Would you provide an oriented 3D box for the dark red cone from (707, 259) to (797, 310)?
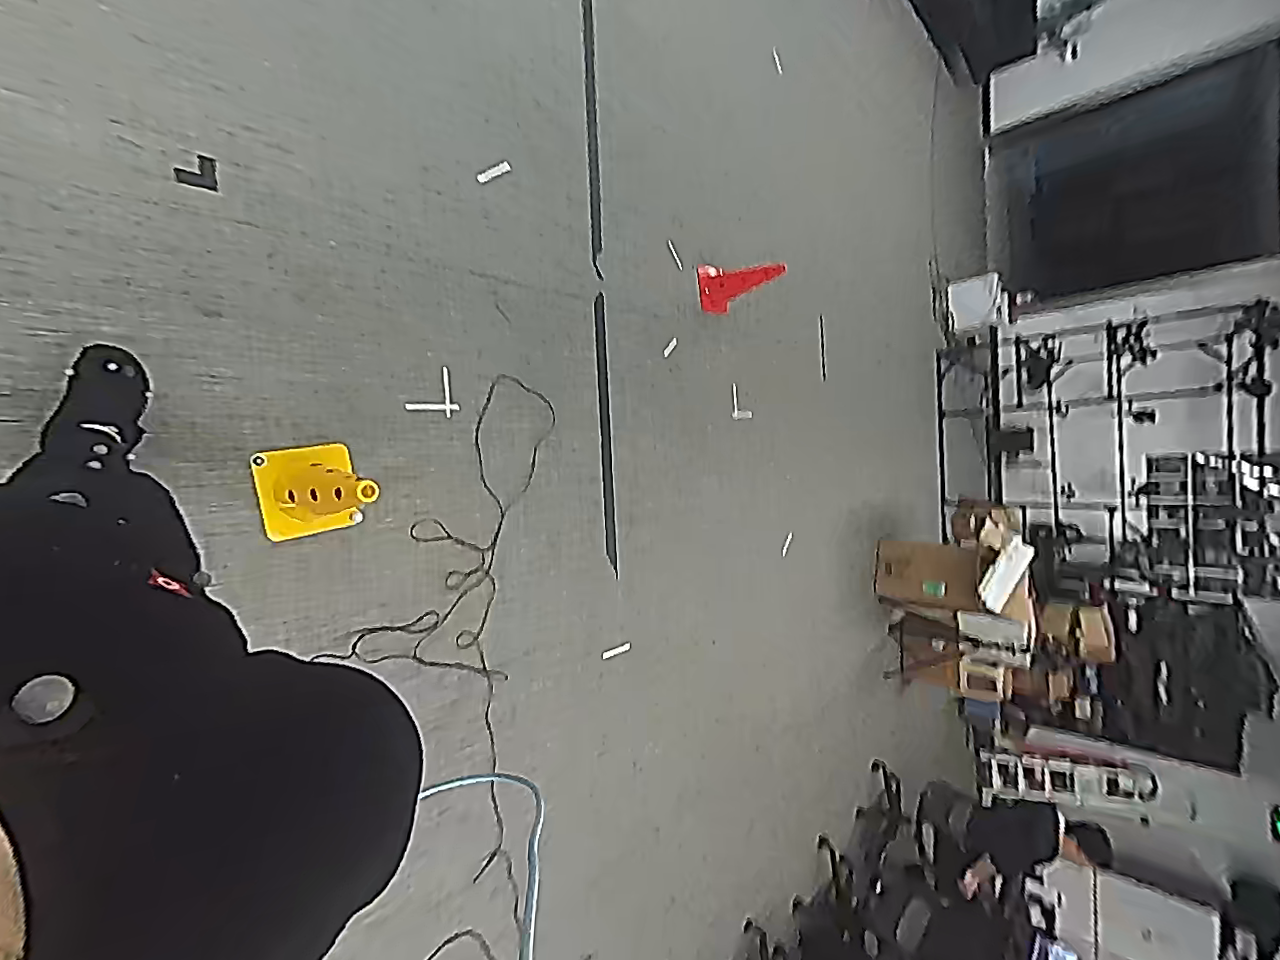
[{"bbox_3d":[0.477,-0.862,2.283,0.201,0.394,0.202,-16,101,-45],"label":"dark red cone"}]
